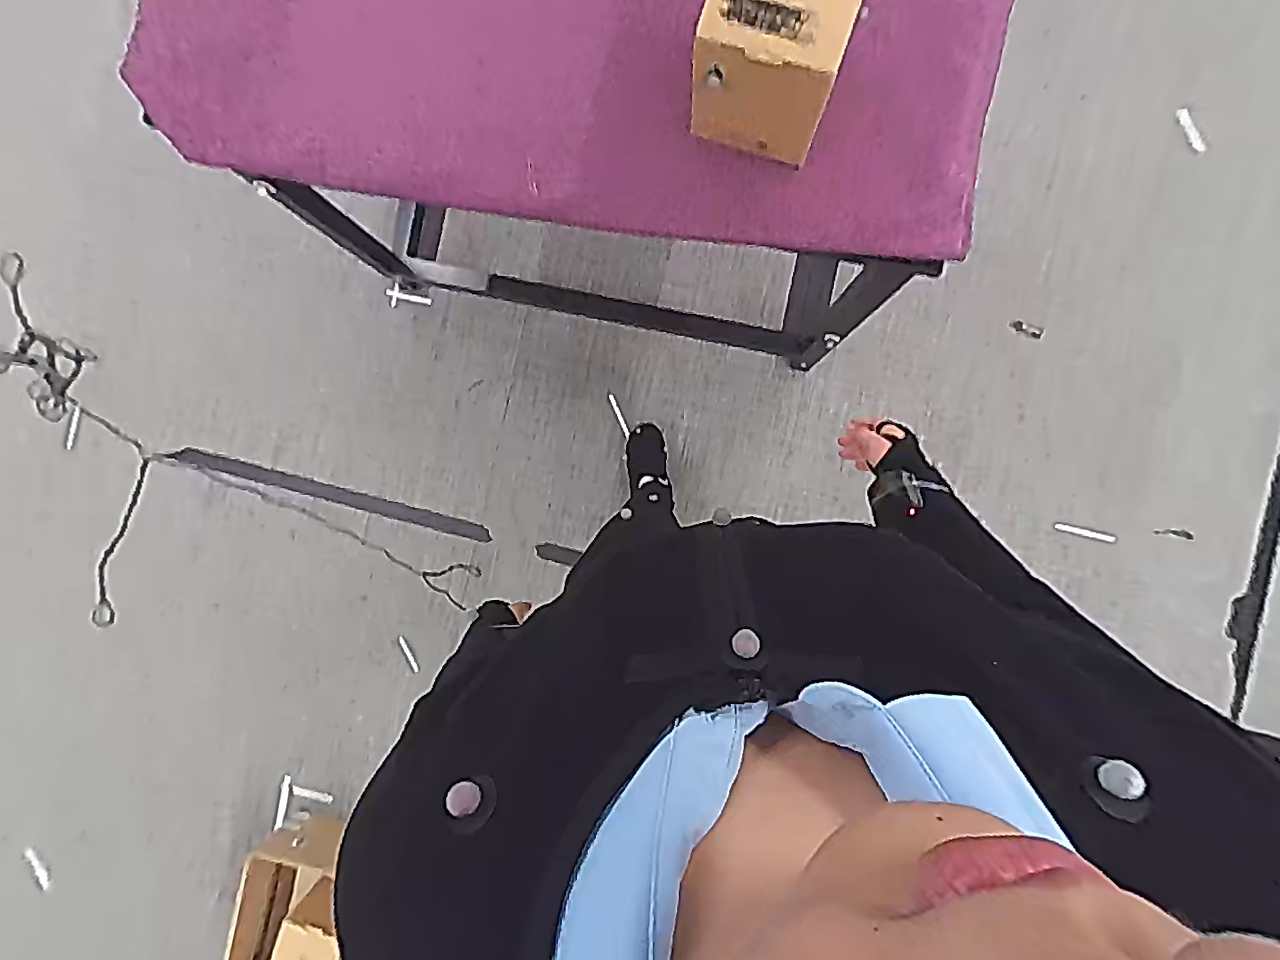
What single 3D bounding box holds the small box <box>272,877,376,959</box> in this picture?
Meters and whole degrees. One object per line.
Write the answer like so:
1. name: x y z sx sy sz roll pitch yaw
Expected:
1. small box: -0.829 1.207 1.420 0.168 0.176 0.179 18 90 3
